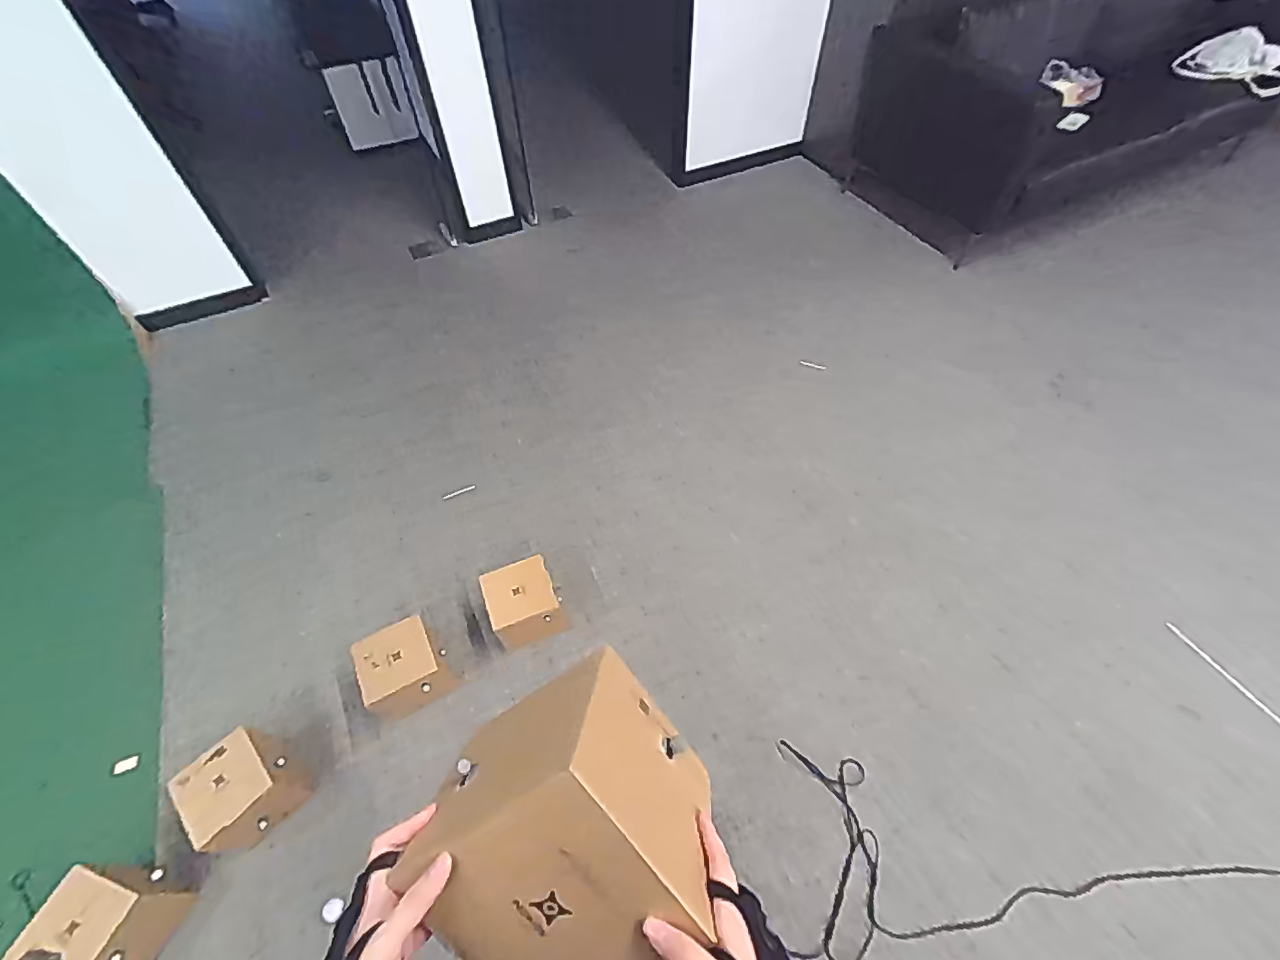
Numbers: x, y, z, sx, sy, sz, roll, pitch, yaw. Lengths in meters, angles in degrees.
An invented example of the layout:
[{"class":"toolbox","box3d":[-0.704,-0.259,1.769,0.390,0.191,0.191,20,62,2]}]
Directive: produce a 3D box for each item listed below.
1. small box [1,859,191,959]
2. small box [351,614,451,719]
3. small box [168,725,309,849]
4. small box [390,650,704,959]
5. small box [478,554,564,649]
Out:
[{"class":"small box","box3d":[-1.069,0.890,1.078,0.168,0.176,0.179,14,55,11]},{"class":"small box","box3d":[-0.597,0.475,1.371,0.179,0.176,0.168,-24,57,-16]},{"class":"small box","box3d":[-0.894,0.692,1.219,0.179,0.176,0.168,39,63,25]},{"class":"small box","box3d":[-0.059,0.283,0.460,0.179,0.176,0.168,-35,96,11]},{"class":"small box","box3d":[-0.319,0.335,1.473,0.179,0.176,0.168,-19,56,-14]}]
